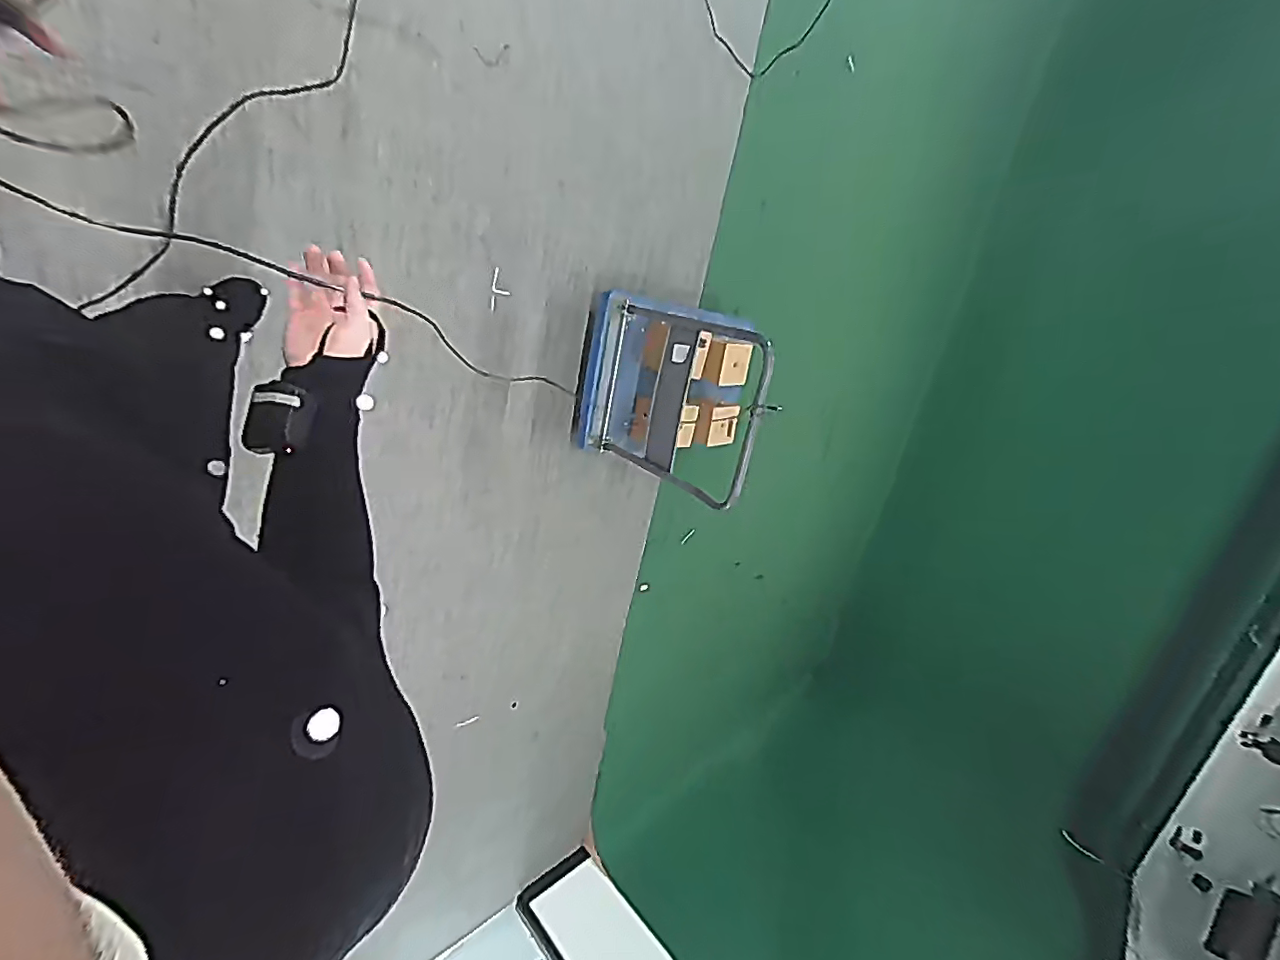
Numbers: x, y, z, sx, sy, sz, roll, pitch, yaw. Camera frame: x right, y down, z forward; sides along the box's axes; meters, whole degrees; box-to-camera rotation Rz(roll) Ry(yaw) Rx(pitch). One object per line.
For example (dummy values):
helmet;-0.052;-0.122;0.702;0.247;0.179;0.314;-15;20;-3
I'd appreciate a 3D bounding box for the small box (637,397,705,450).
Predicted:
small box;0.115;-0.218;2.073;0.179;0.176;0.168;-5;113;-43

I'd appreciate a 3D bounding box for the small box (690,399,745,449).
small box;0.310;-0.239;2.260;0.179;0.176;0.168;-10;116;-41

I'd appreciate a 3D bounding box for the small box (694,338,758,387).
small box;0.342;-0.473;2.174;0.179;0.176;0.168;-11;118;-42
